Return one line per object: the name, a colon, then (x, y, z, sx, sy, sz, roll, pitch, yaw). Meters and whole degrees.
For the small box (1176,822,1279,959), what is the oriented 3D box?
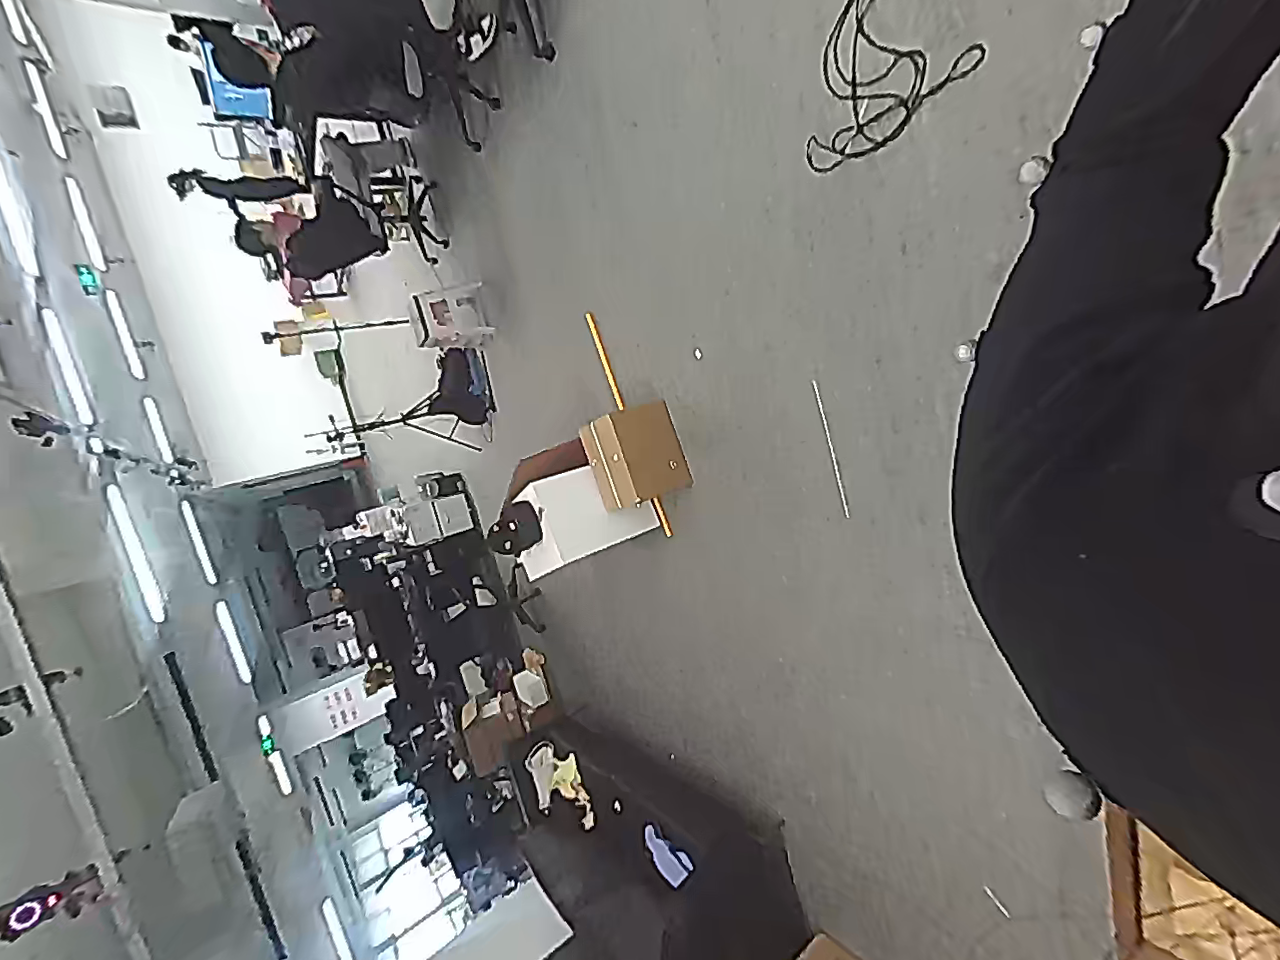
small box: (1.256, 0.869, 1.122, 0.168, 0.176, 0.179, 1, 107, 58)
